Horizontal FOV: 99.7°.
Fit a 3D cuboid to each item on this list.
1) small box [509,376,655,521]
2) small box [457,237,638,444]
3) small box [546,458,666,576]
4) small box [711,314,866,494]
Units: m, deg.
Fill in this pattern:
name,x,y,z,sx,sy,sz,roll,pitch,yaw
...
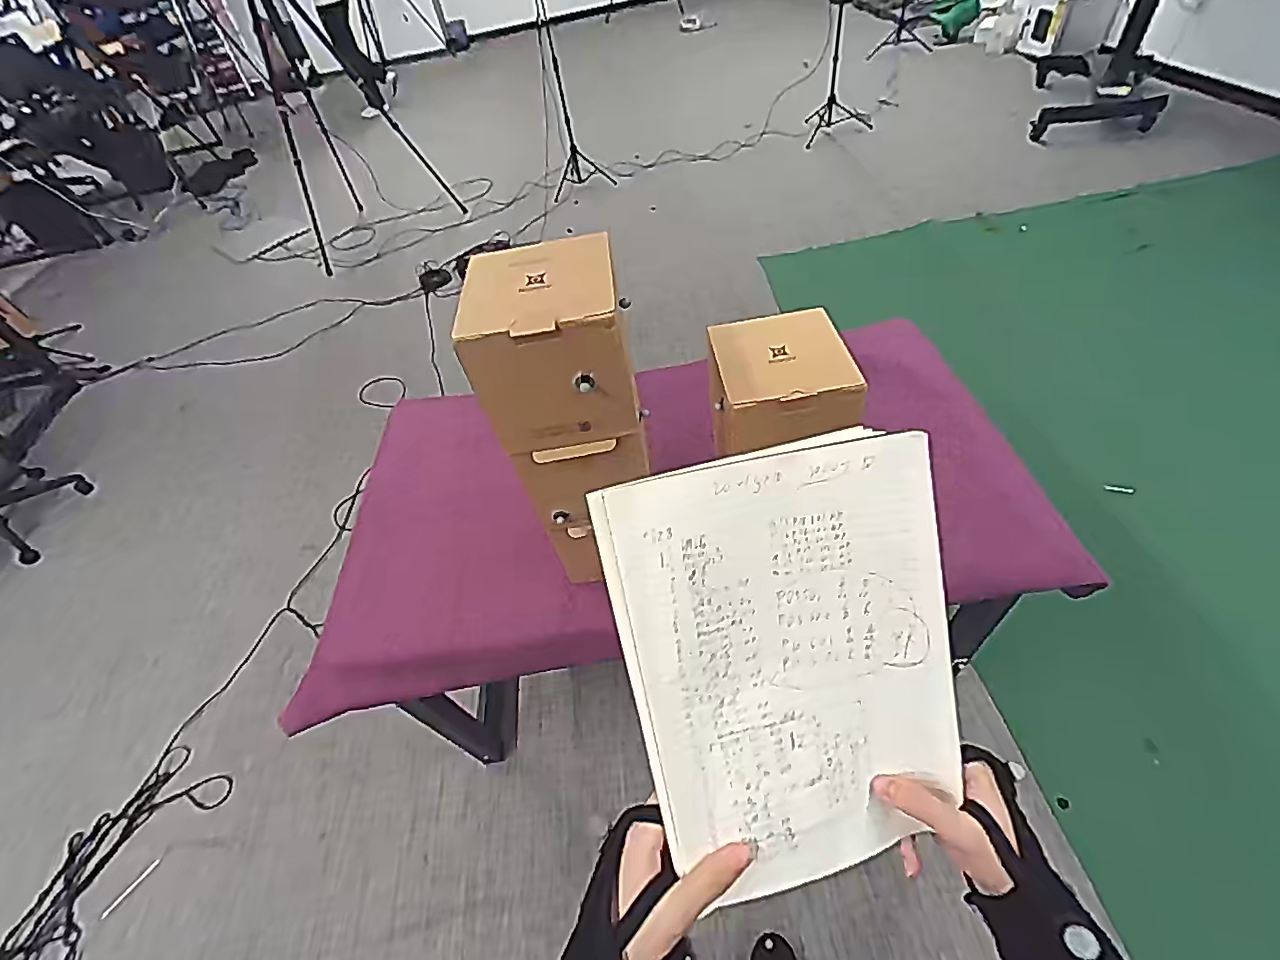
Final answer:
name,x,y,z,sx,sy,sz,roll,pitch,yaw
small box,-0.075,-0.056,0.769,0.168,0.176,0.179,-9,48,3
small box,-0.097,-0.157,0.643,0.168,0.176,0.179,-8,48,3
small box,-0.052,0.046,0.897,0.168,0.176,0.179,-9,50,3
small box,0.194,-0.106,0.763,0.168,0.176,0.179,-9,48,3
